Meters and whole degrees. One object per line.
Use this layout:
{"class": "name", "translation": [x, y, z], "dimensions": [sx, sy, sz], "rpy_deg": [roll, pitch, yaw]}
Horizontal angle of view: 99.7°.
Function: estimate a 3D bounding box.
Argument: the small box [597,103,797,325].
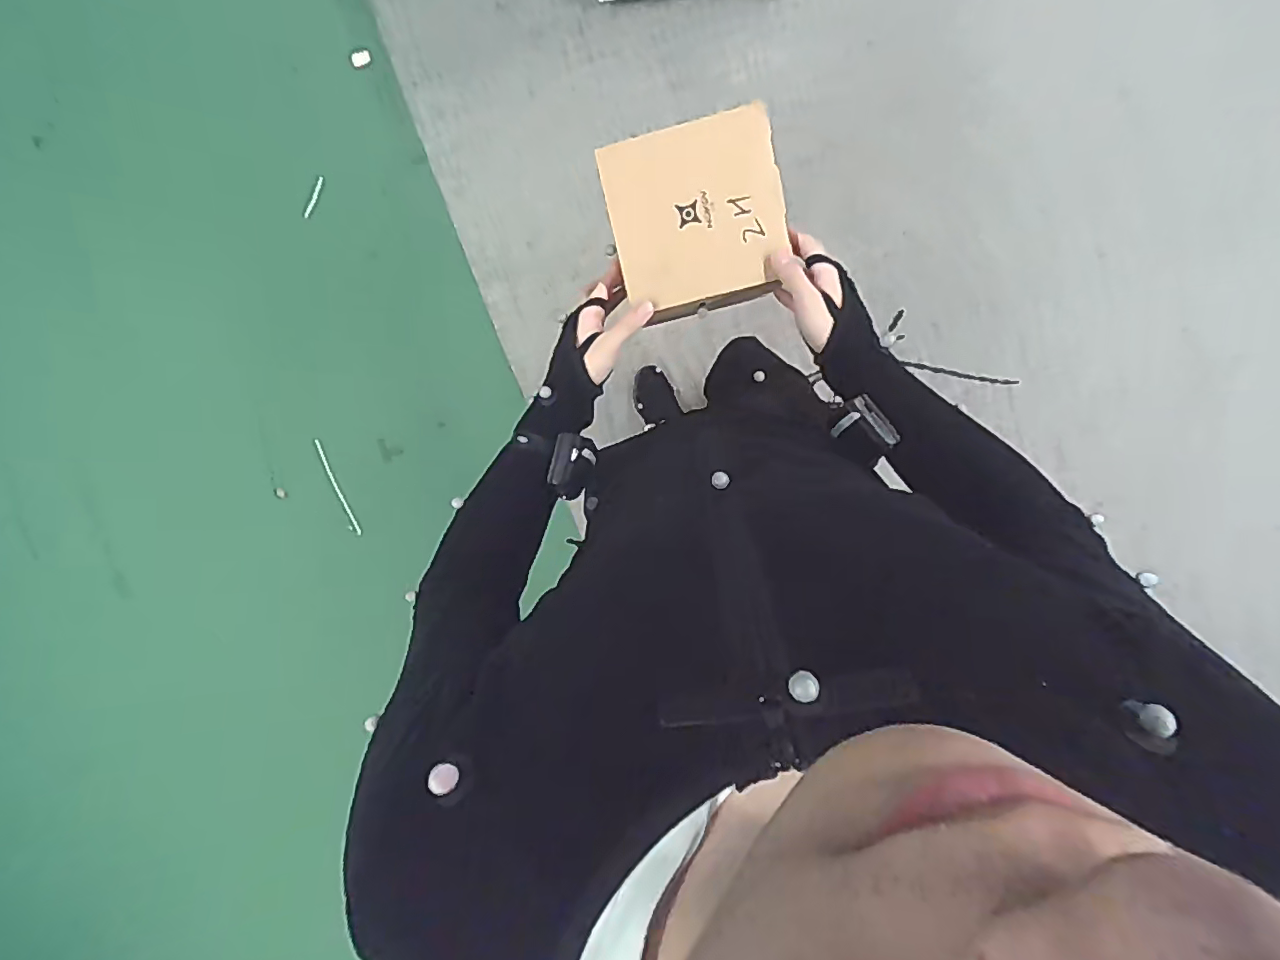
{"class": "small box", "translation": [0.062, -0.282, 0.618], "dimensions": [0.179, 0.176, 0.168], "rpy_deg": [-12, 101, 4]}
